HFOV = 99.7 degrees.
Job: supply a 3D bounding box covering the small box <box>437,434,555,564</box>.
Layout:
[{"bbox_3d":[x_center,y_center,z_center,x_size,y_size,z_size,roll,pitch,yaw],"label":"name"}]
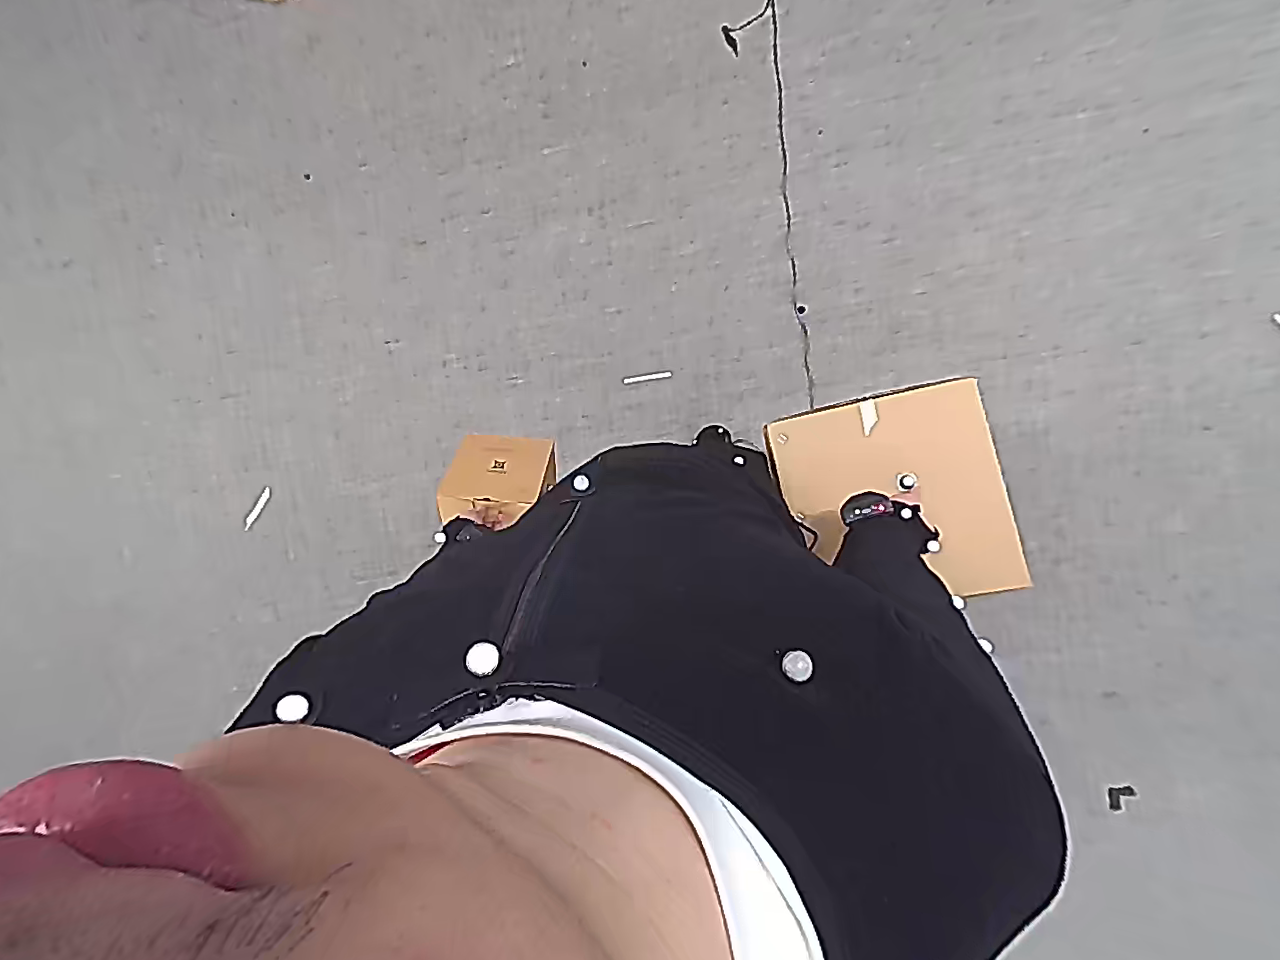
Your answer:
[{"bbox_3d":[-0.253,0.037,1.002,0.168,0.179,0.176,5,131,-1],"label":"small box"}]
